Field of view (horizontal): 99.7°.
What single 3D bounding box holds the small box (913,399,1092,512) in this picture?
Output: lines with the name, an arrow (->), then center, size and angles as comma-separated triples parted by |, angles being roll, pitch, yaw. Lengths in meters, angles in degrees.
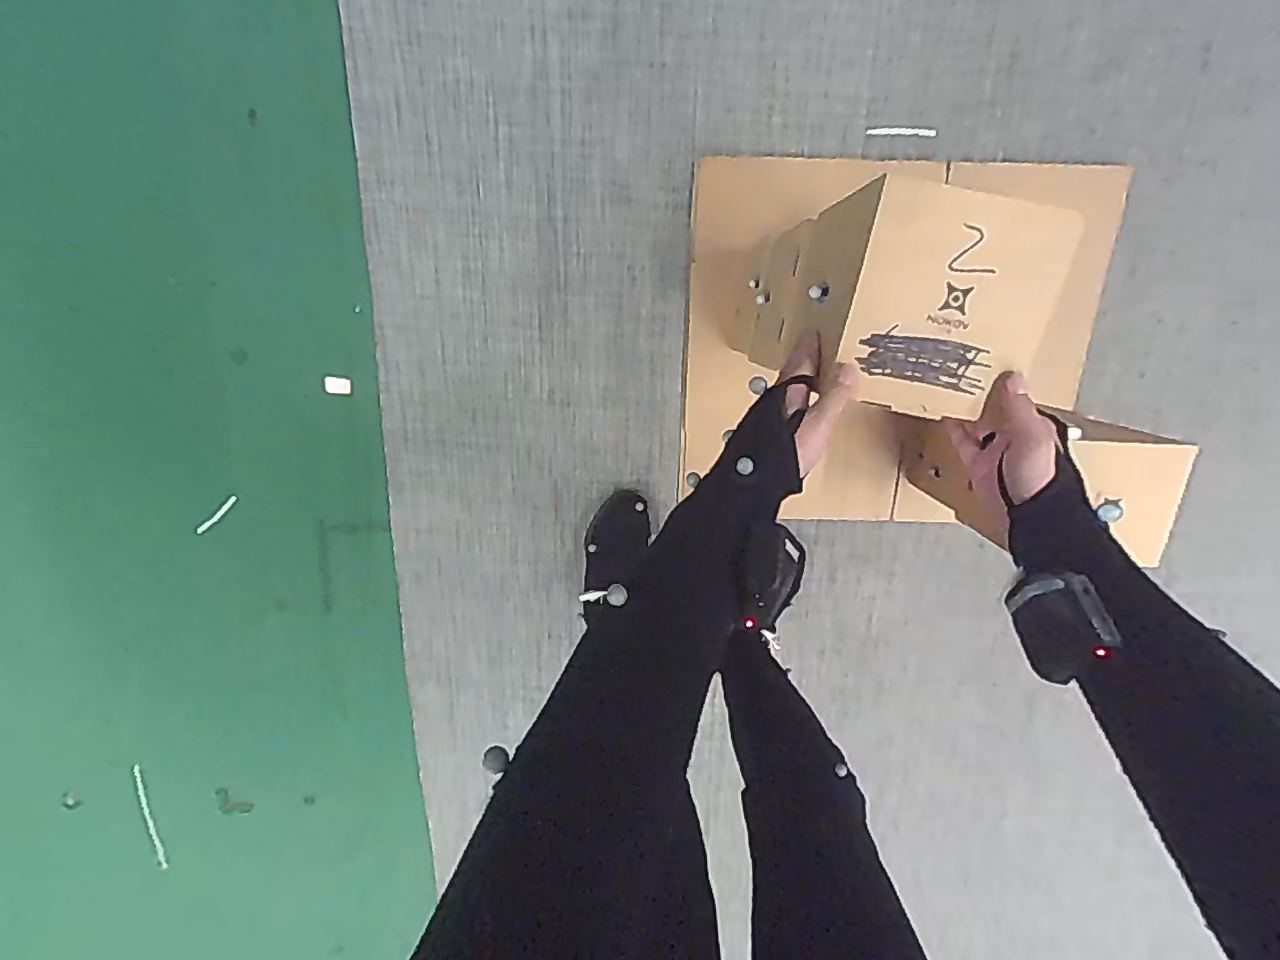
small box -> 0.588, -0.042, 0.907 | 0.179, 0.176, 0.168 | 3, 107, 0

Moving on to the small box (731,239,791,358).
small box -> 0.255, -0.264, 0.844 | 0.179, 0.176, 0.168 | 10, 106, -2

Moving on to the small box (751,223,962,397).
small box -> 0.256, -0.210, 0.686 | 0.179, 0.176, 0.168 | 9, 106, -2

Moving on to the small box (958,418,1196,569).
small box -> 0.586, 0.010, 0.754 | 0.179, 0.176, 0.168 | 2, 107, 2
